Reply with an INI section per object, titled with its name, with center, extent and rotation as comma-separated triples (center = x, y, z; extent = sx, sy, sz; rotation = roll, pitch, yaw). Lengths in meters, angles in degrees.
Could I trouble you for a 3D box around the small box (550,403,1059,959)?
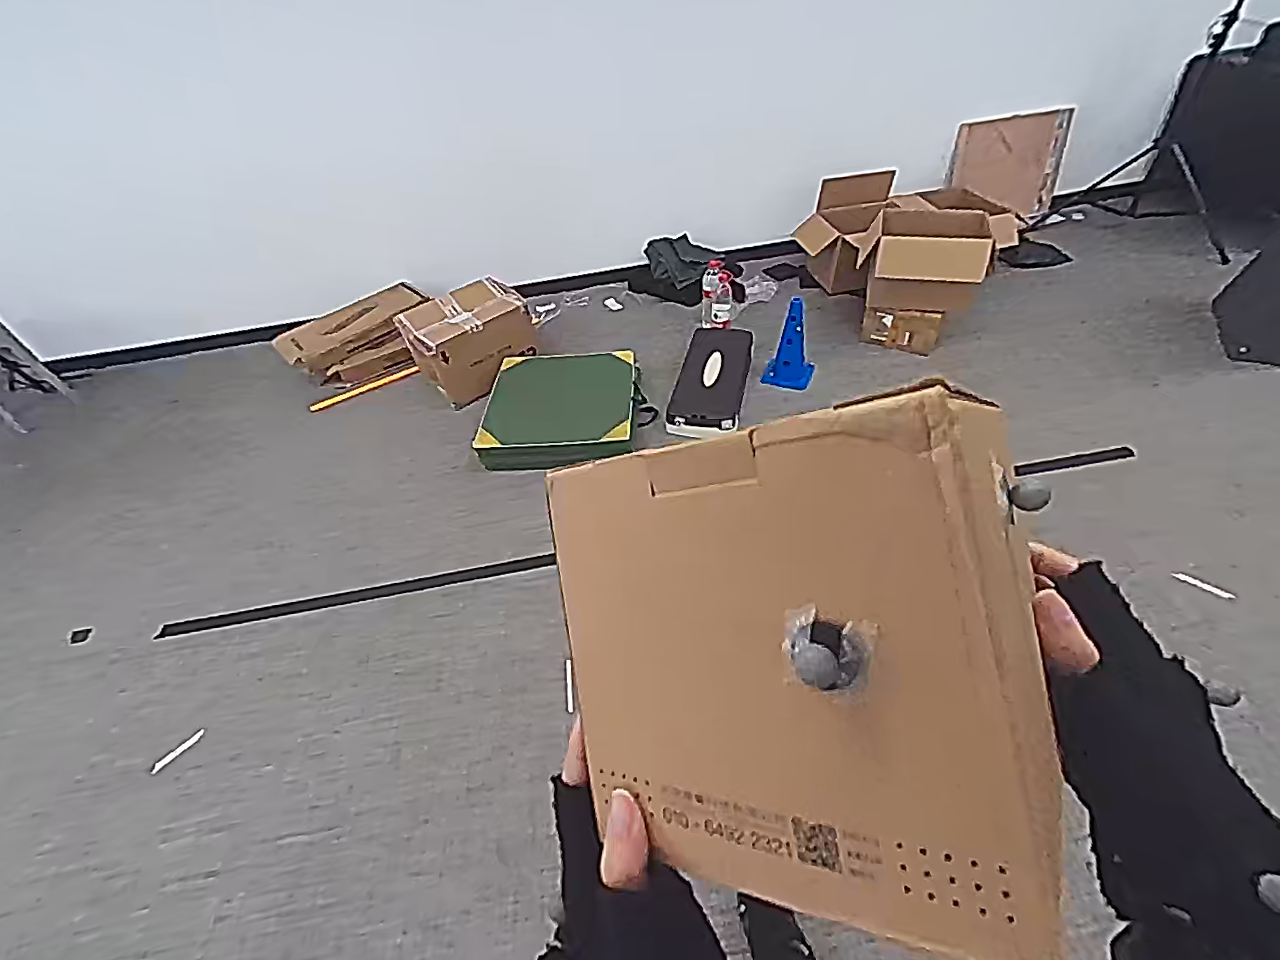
[small box]
center = 0.086, 0.066, 0.262
extent = 0.168, 0.176, 0.179
rotation = -11, -2, 38
